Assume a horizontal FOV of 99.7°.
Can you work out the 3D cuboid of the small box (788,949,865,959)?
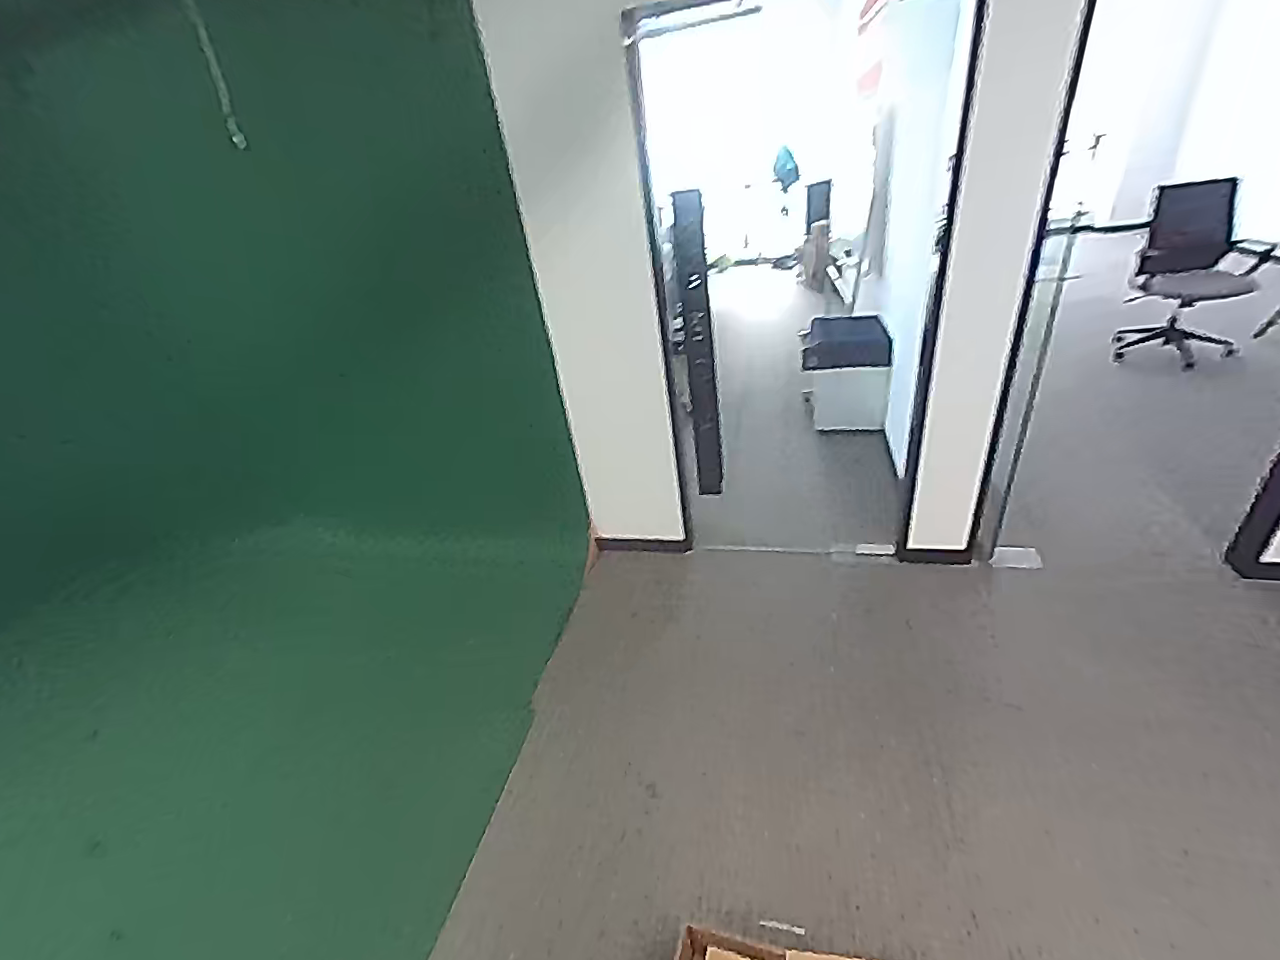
[{"bbox_3d":[0.220,0.588,0.493,0.168,0.176,0.179,0,23,8],"label":"small box"}]
